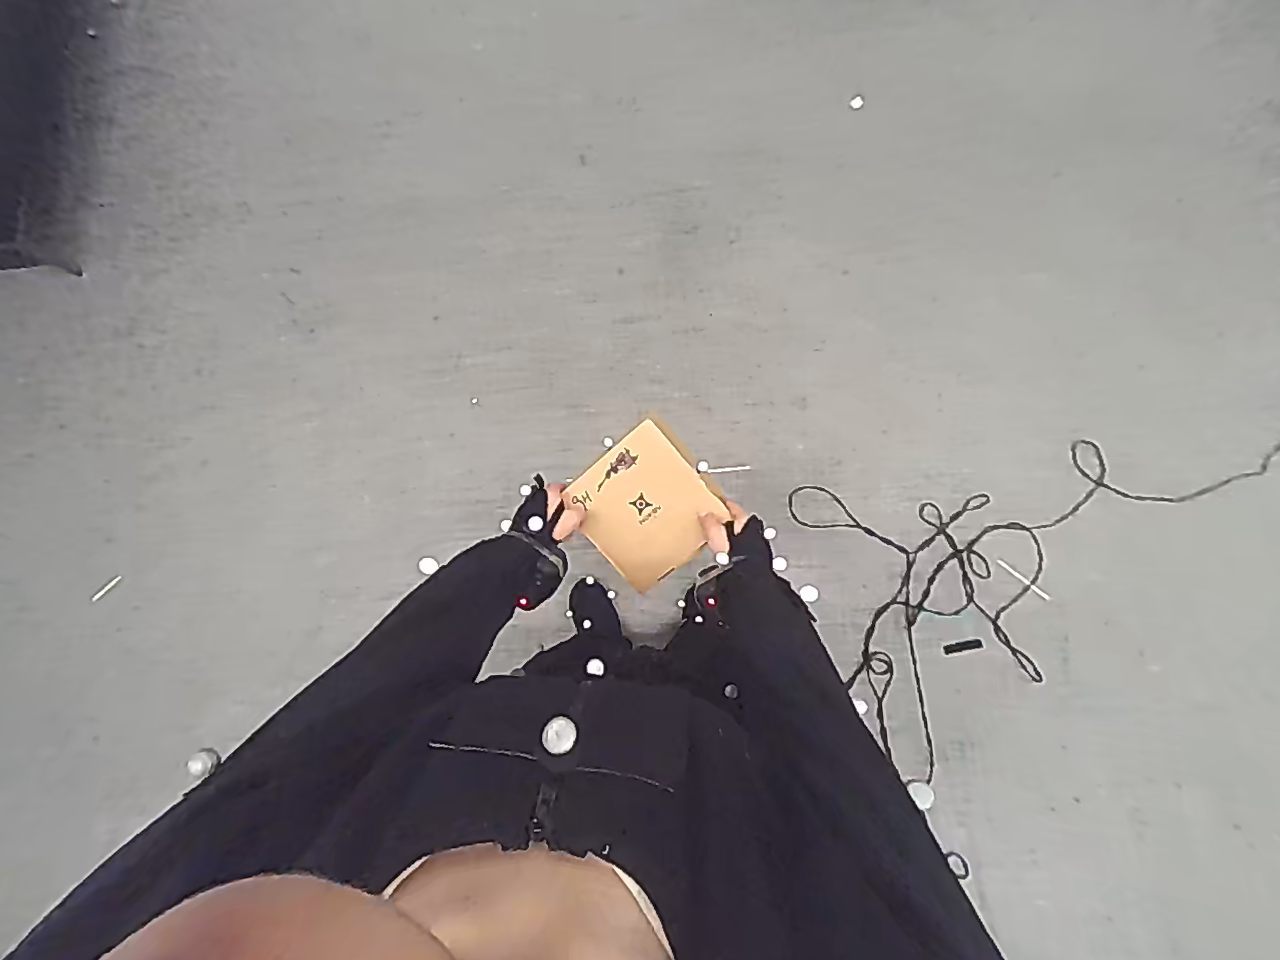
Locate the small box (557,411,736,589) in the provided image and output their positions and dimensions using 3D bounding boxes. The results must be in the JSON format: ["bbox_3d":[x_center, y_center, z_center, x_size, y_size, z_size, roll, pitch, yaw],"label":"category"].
[{"bbox_3d":[0.013,0.016,0.769,0.168,0.176,0.179,-40,96,9],"label":"small box"}]
